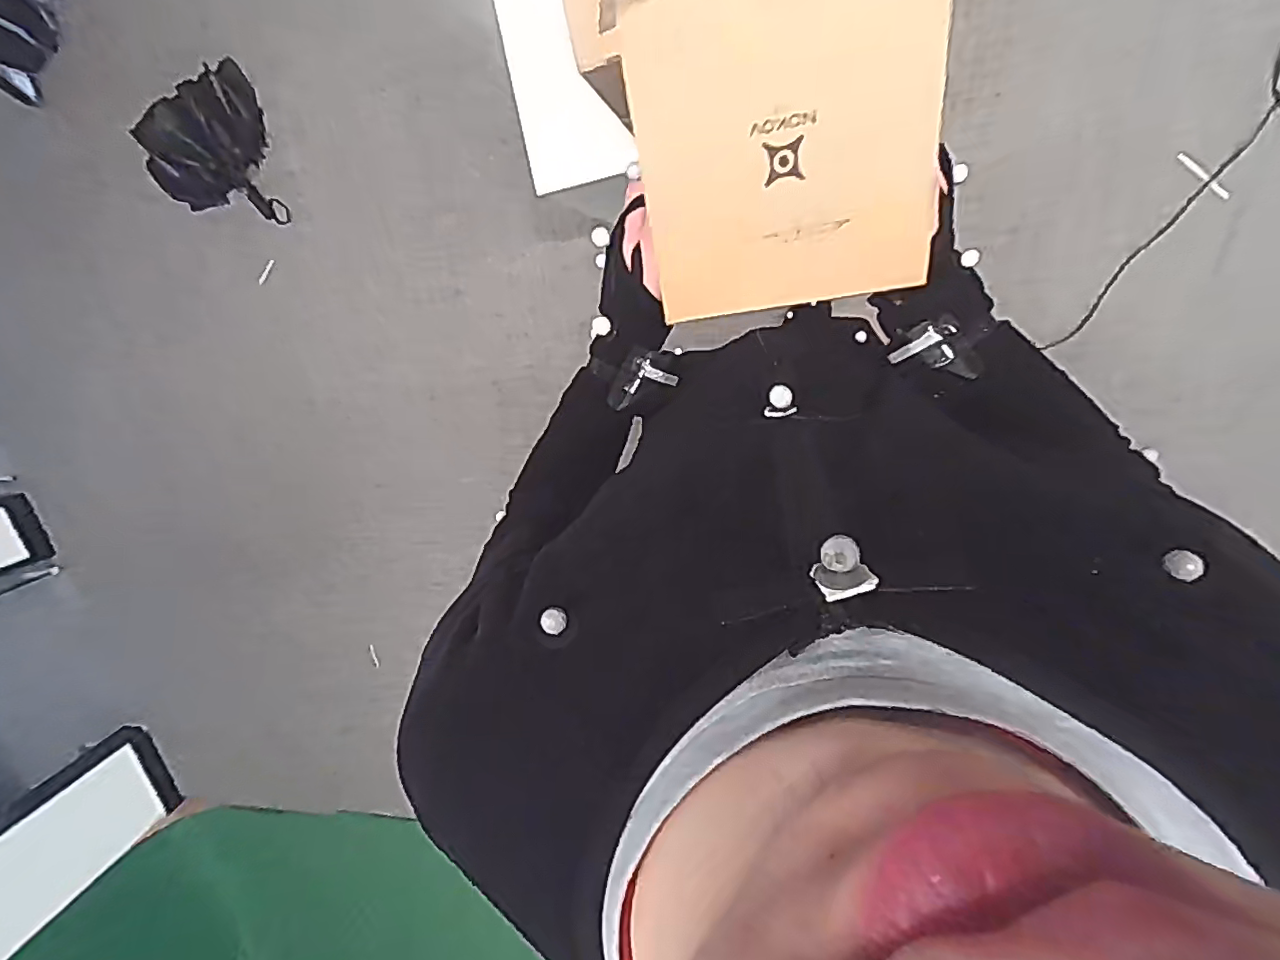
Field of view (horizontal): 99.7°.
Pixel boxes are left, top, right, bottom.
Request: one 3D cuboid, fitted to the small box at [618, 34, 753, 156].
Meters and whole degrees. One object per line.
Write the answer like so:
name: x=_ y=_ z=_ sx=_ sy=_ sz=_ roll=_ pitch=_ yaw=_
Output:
small box: x=0.049 y=-0.560 z=0.704 sx=0.168 sy=0.176 sz=0.179 roll=-11 pitch=105 yaw=16
